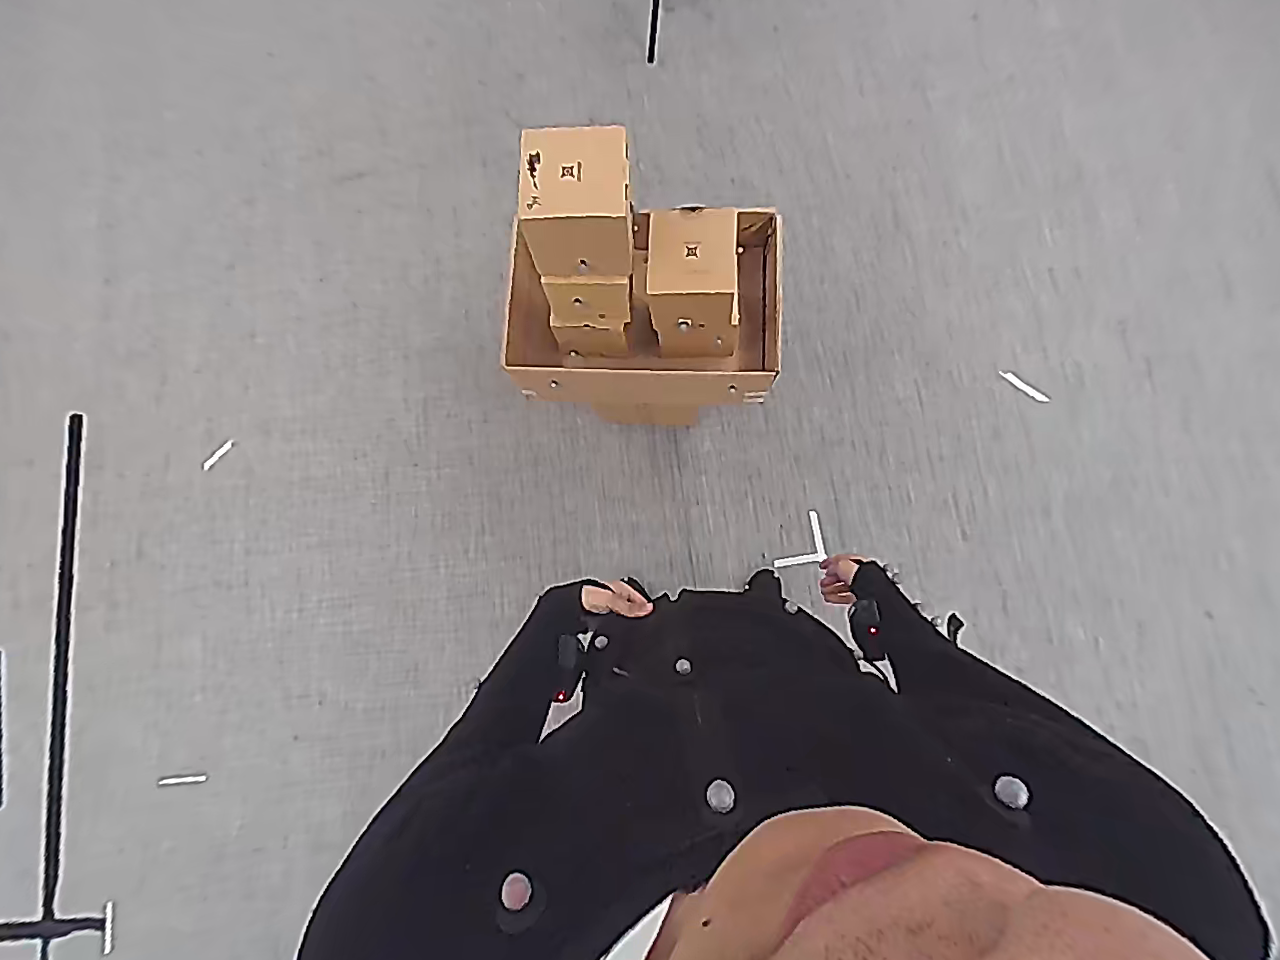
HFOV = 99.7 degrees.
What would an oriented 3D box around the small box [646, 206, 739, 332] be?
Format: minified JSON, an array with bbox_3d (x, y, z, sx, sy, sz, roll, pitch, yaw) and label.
[{"bbox_3d":[0.105,-0.415,1.080,0.168,0.176,0.179,2,80,7],"label":"small box"}]

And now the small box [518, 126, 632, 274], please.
[{"bbox_3d":[-0.104,-0.478,0.943,0.179,0.176,0.168,1,79,1],"label":"small box"}]

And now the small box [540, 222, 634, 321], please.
[{"bbox_3d":[-0.100,-0.440,1.102,0.168,0.176,0.179,2,80,2],"label":"small box"}]
